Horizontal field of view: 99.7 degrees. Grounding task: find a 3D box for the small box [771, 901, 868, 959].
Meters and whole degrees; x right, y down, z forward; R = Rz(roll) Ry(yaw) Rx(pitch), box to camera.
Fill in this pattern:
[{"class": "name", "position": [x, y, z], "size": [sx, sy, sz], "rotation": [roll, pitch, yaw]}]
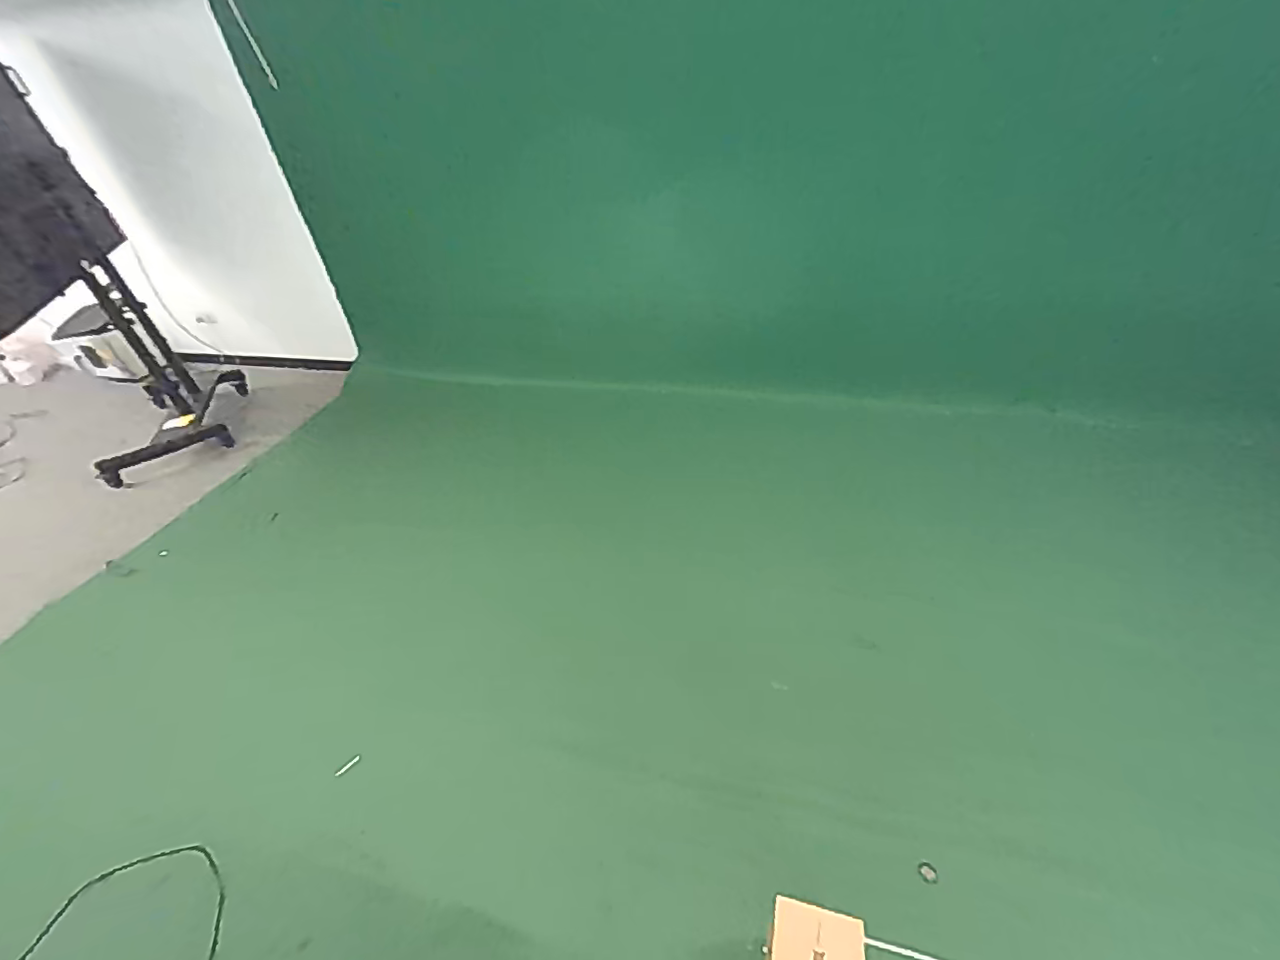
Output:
[{"class": "small box", "position": [0.338, 0.959, 1.034], "size": [0.168, 0.176, 0.179], "rotation": [7, 39, 16]}]
